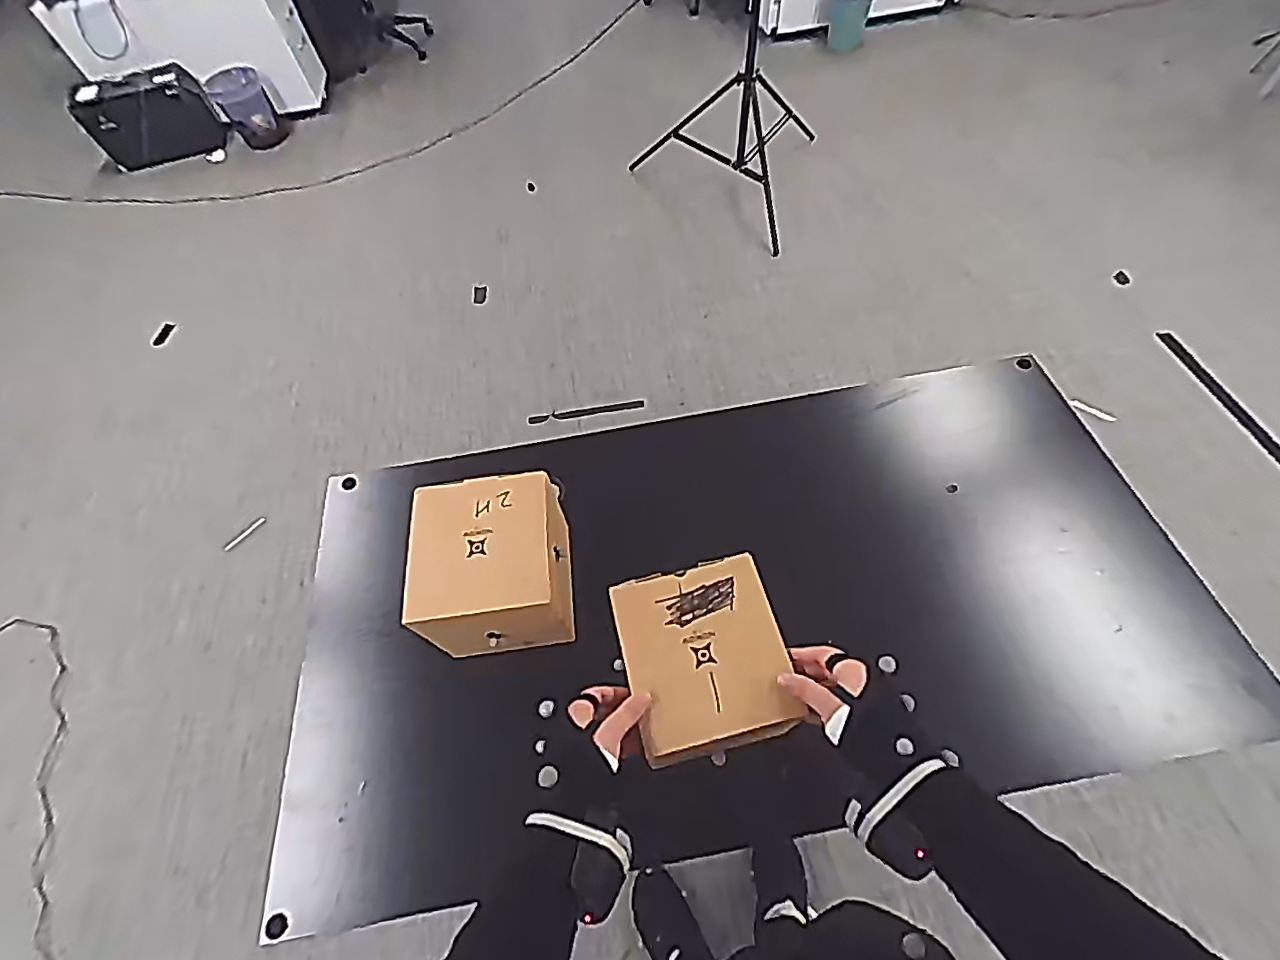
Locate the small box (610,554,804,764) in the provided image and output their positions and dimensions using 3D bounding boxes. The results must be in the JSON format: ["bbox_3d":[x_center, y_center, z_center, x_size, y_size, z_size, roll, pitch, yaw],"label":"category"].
[{"bbox_3d":[0.067,0.213,0.629,0.168,0.176,0.179,-14,59,-3],"label":"small box"}]

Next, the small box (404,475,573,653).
[{"bbox_3d":[-0.186,0.118,0.708,0.168,0.176,0.179,-8,58,-1],"label":"small box"}]
